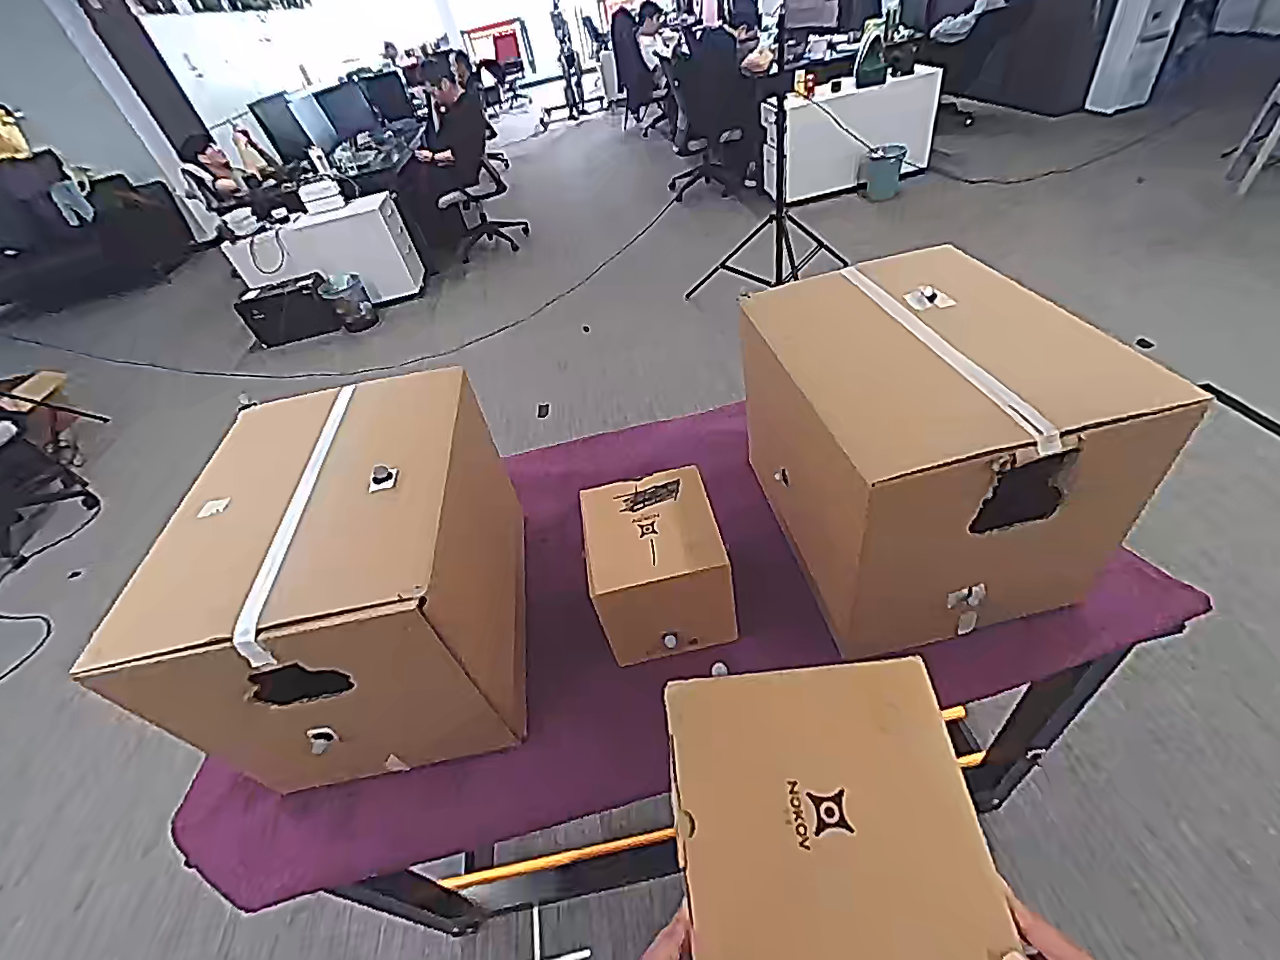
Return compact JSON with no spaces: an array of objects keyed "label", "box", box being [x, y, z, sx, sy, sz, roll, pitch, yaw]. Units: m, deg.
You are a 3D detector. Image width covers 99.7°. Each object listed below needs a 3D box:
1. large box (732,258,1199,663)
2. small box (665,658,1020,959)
[{"label":"large box","box":[0.340,-0.041,0.714,0.320,0.320,0.408,-14,41,0]},{"label":"small box","box":[0.119,0.238,0.395,0.179,0.176,0.168,-9,59,5]}]
